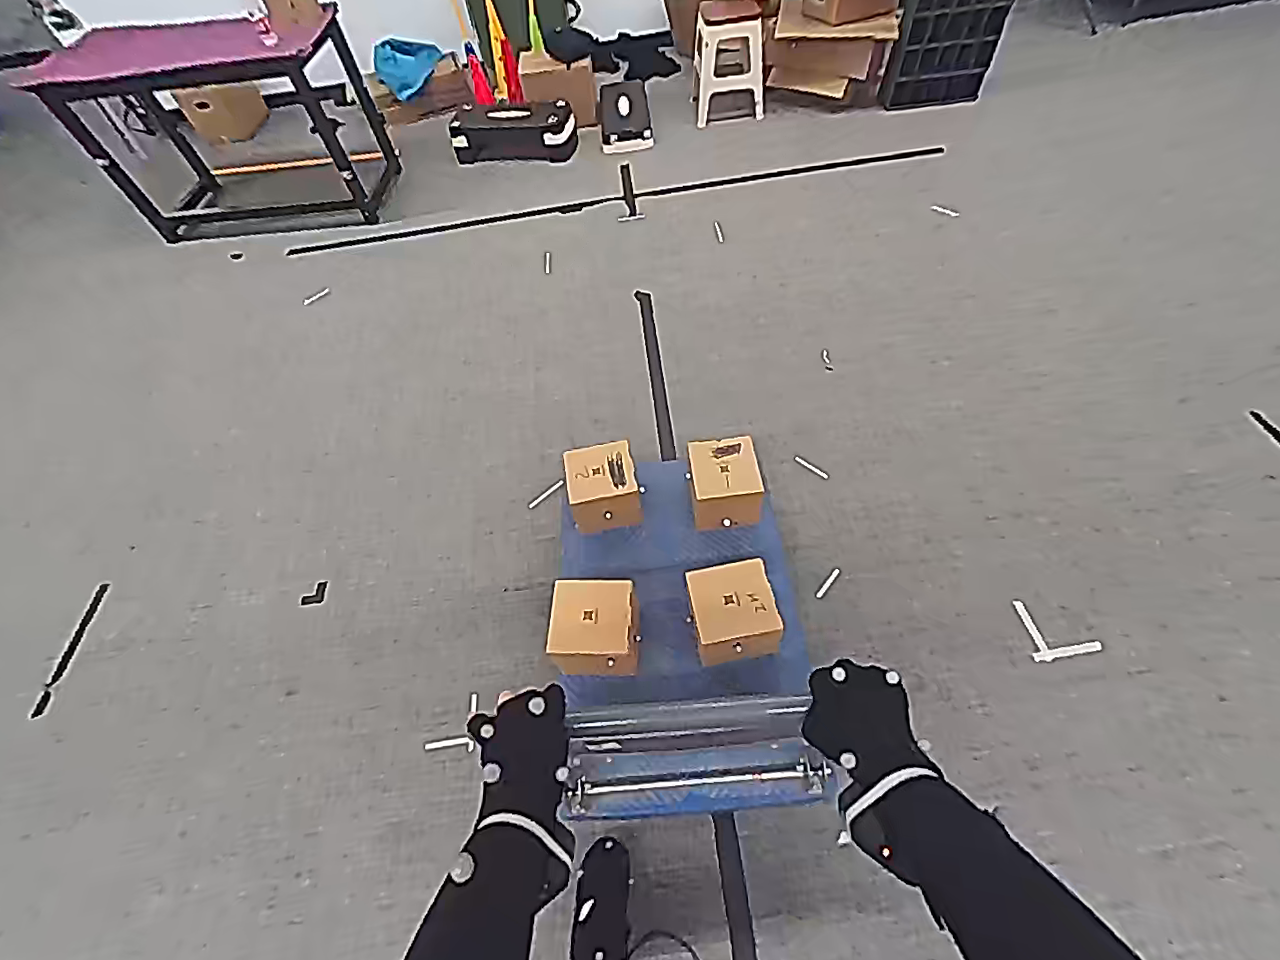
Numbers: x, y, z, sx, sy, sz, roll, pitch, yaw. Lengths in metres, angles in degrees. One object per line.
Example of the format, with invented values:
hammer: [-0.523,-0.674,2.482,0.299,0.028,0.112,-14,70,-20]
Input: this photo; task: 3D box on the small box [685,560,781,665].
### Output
small box: [0.206,0.304,1.223,0.179,0.176,0.168,-11,55,0]

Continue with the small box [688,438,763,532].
small box: [0.217,0.016,1.418,0.168,0.176,0.179,-7,56,2]

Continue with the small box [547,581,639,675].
small box: [-0.099,0.341,1.237,0.179,0.176,0.168,-1,56,5]
